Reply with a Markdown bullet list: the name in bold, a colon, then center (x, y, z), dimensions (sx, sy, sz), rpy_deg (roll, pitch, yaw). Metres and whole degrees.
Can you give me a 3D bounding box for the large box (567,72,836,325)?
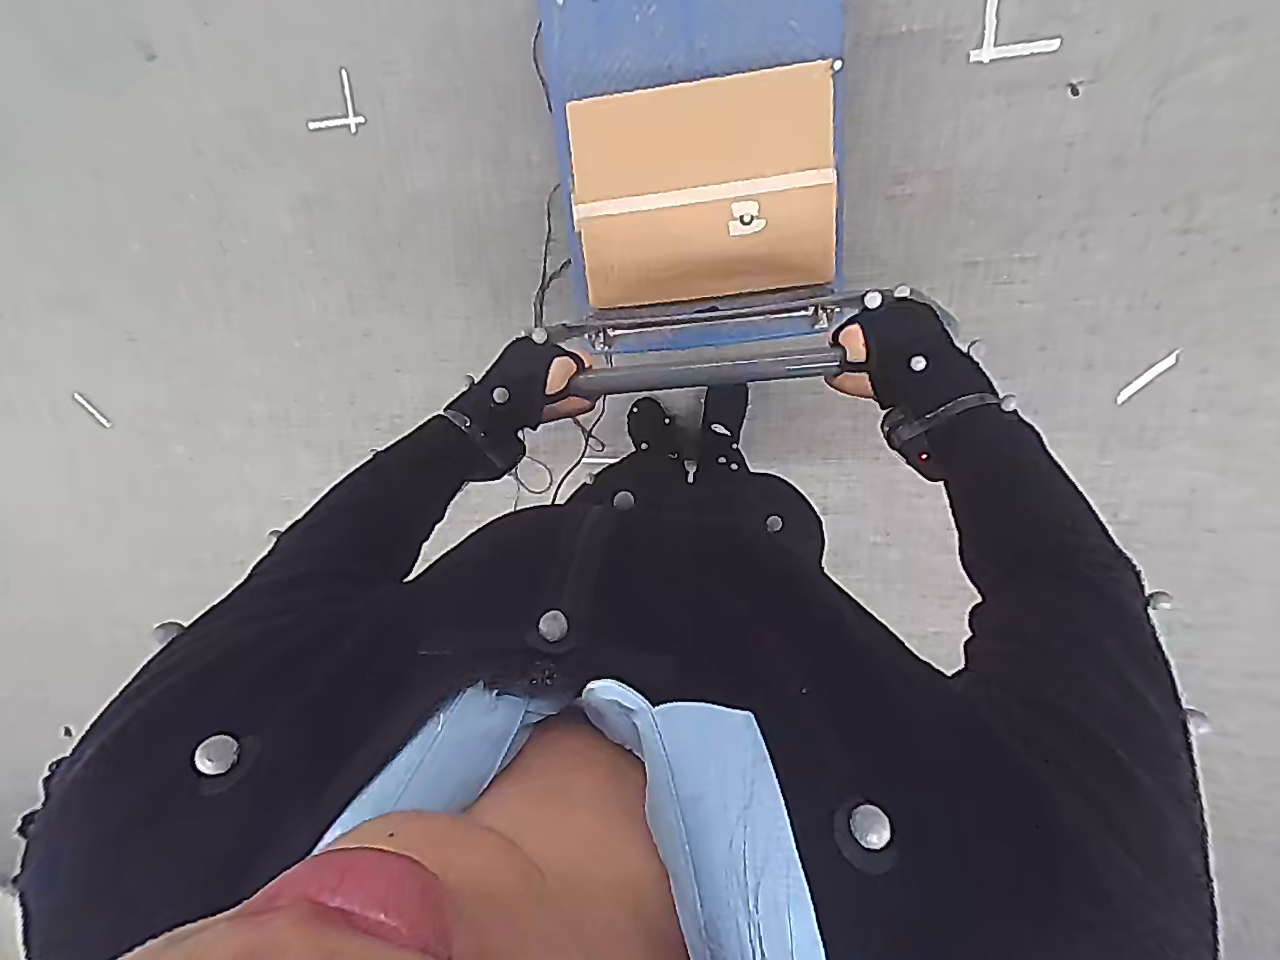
- **large box**: center (0.111, -0.469, 0.990), dimensions (0.408, 0.320, 0.320), rpy_deg (-4, 105, 7)
